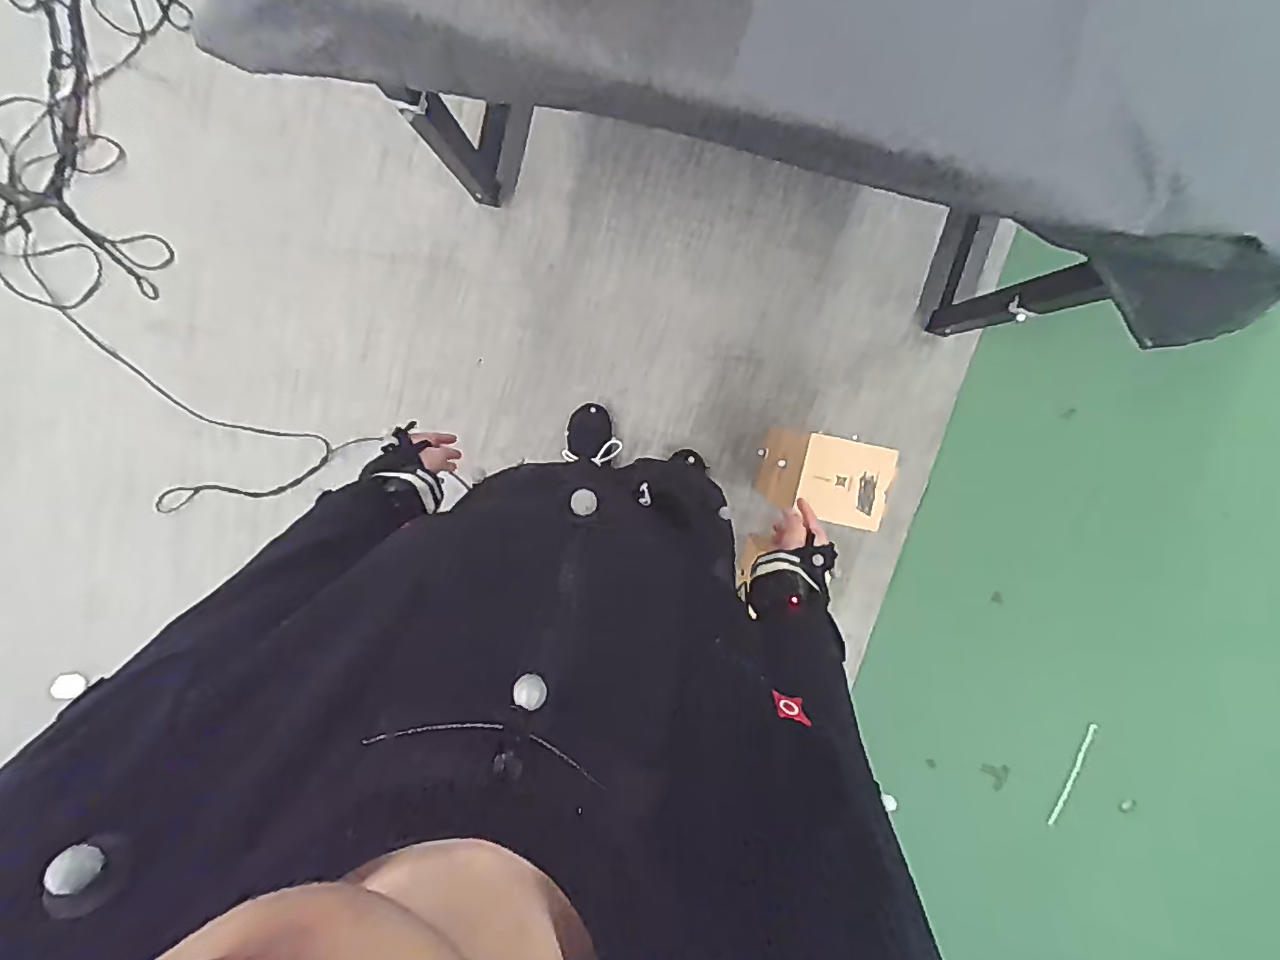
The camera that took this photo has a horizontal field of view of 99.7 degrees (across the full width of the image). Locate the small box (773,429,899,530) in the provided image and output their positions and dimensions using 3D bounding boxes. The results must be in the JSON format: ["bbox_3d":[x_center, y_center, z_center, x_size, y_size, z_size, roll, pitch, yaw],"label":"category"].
[{"bbox_3d":[0.393,-0.010,1.115,0.179,0.176,0.168,11,97,-1],"label":"small box"}]

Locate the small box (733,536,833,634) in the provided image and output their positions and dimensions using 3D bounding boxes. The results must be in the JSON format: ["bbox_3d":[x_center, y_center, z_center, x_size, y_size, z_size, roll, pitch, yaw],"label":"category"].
[{"bbox_3d":[0.336,0.246,1.318,0.179,0.176,0.168,17,99,-1],"label":"small box"}]

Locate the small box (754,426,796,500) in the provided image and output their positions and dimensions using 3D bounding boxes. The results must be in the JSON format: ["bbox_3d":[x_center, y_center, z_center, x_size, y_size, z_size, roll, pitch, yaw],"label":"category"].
[{"bbox_3d":[0.386,-0.032,1.277,0.179,0.176,0.168,11,97,-1],"label":"small box"}]
